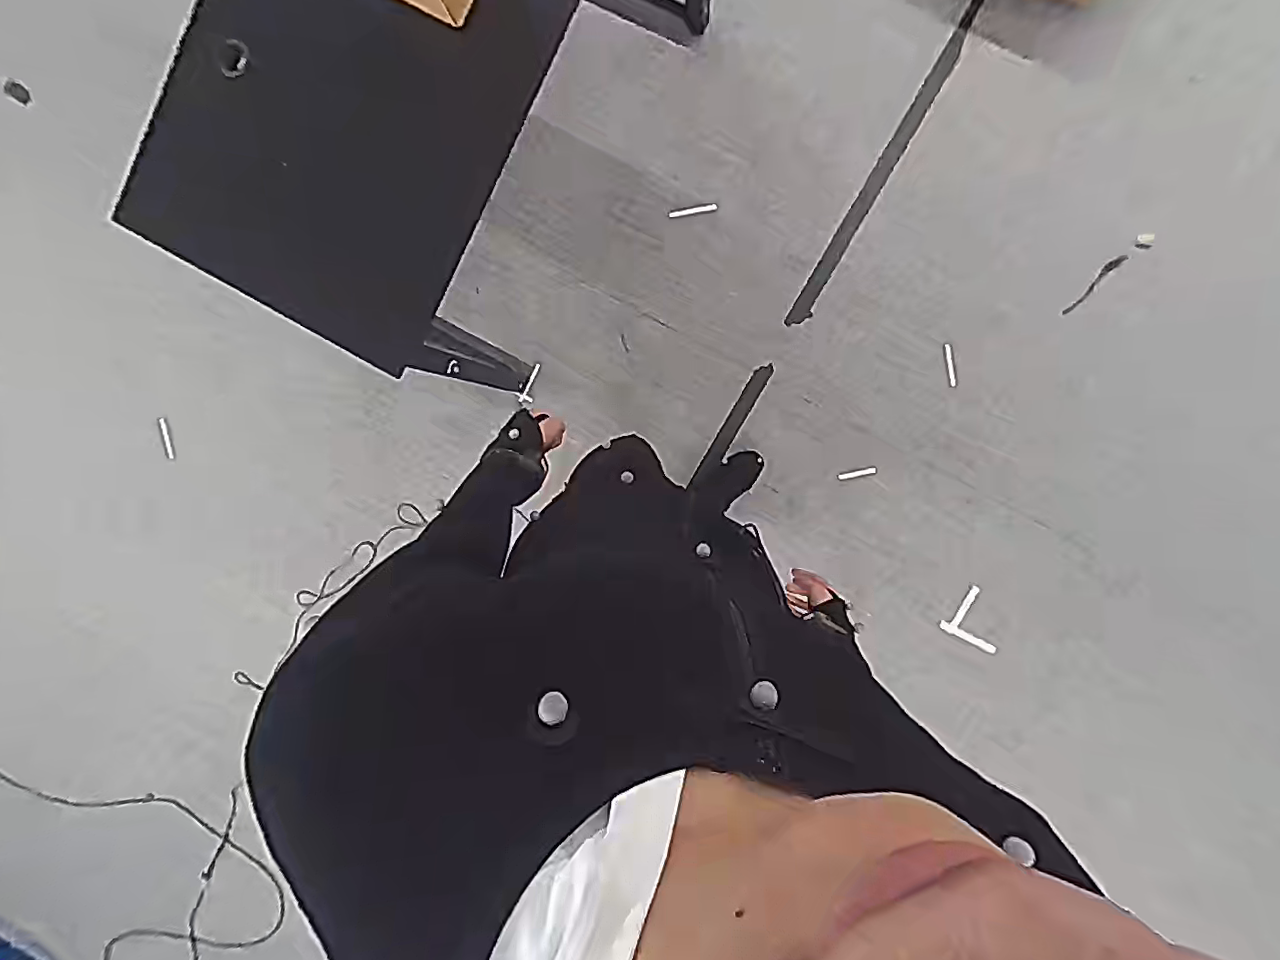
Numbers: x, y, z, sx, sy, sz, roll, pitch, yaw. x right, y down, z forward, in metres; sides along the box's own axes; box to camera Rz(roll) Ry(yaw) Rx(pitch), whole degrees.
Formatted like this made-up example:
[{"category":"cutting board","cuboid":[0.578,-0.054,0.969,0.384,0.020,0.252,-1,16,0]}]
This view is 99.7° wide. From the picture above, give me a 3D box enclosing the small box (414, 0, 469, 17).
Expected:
[{"category":"small box","cuboid":[-0.339,-0.844,0.792,0.179,0.176,0.168,28,97,3]}]
